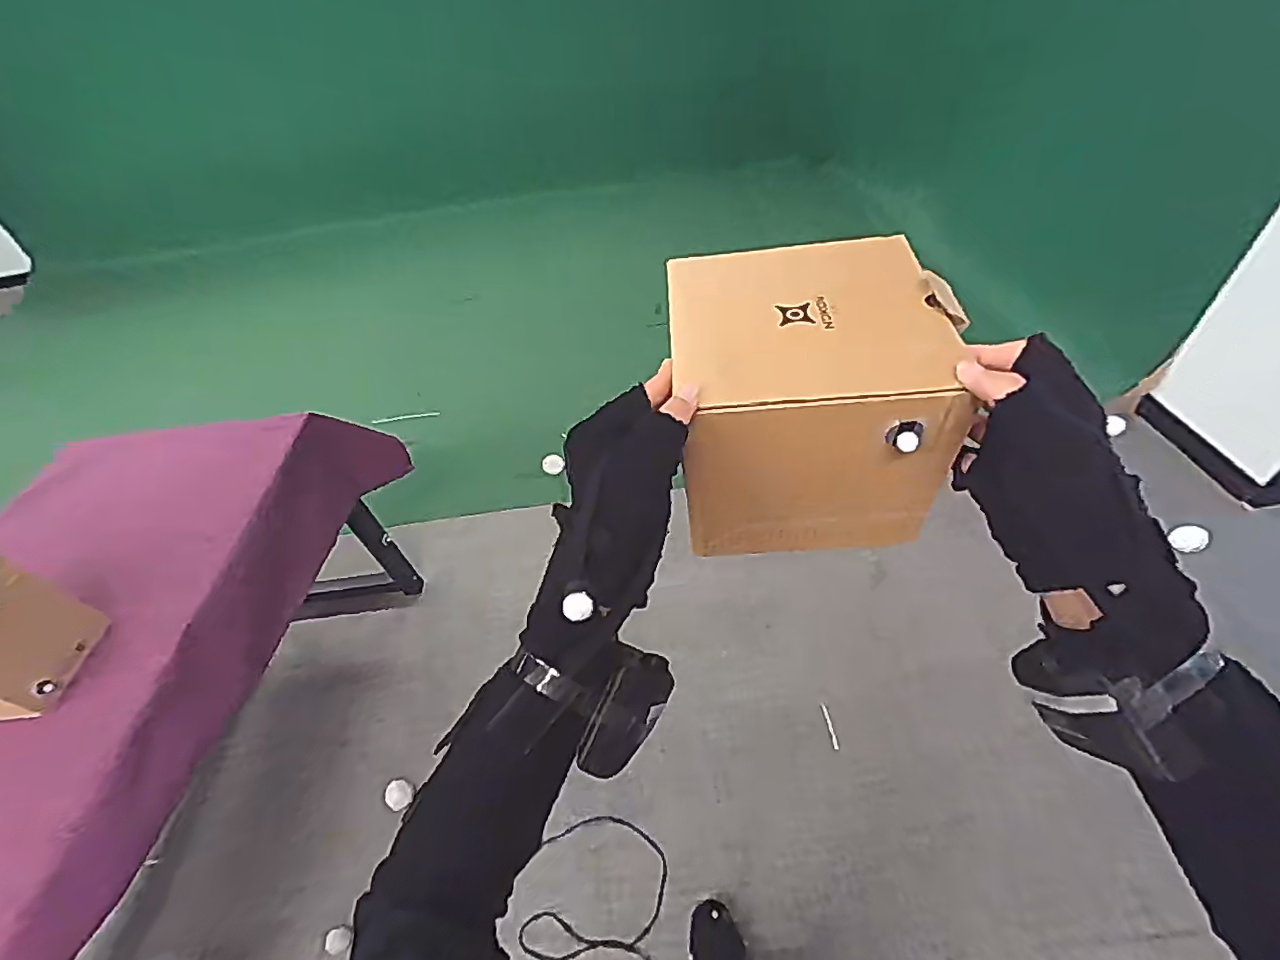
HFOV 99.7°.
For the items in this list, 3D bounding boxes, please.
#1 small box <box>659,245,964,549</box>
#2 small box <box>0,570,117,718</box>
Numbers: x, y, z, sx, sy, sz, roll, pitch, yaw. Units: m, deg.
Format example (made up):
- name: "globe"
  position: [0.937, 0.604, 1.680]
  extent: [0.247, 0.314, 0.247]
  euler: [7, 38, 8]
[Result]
- name: "small box"
  position: [0.110, -0.057, 0.425]
  extent: [0.179, 0.176, 0.168]
  euler: [-4, 51, 5]
- name: "small box"
  position: [-1.000, 0.260, 0.844]
  extent: [0.179, 0.176, 0.168]
  euler: [-6, 46, 5]
